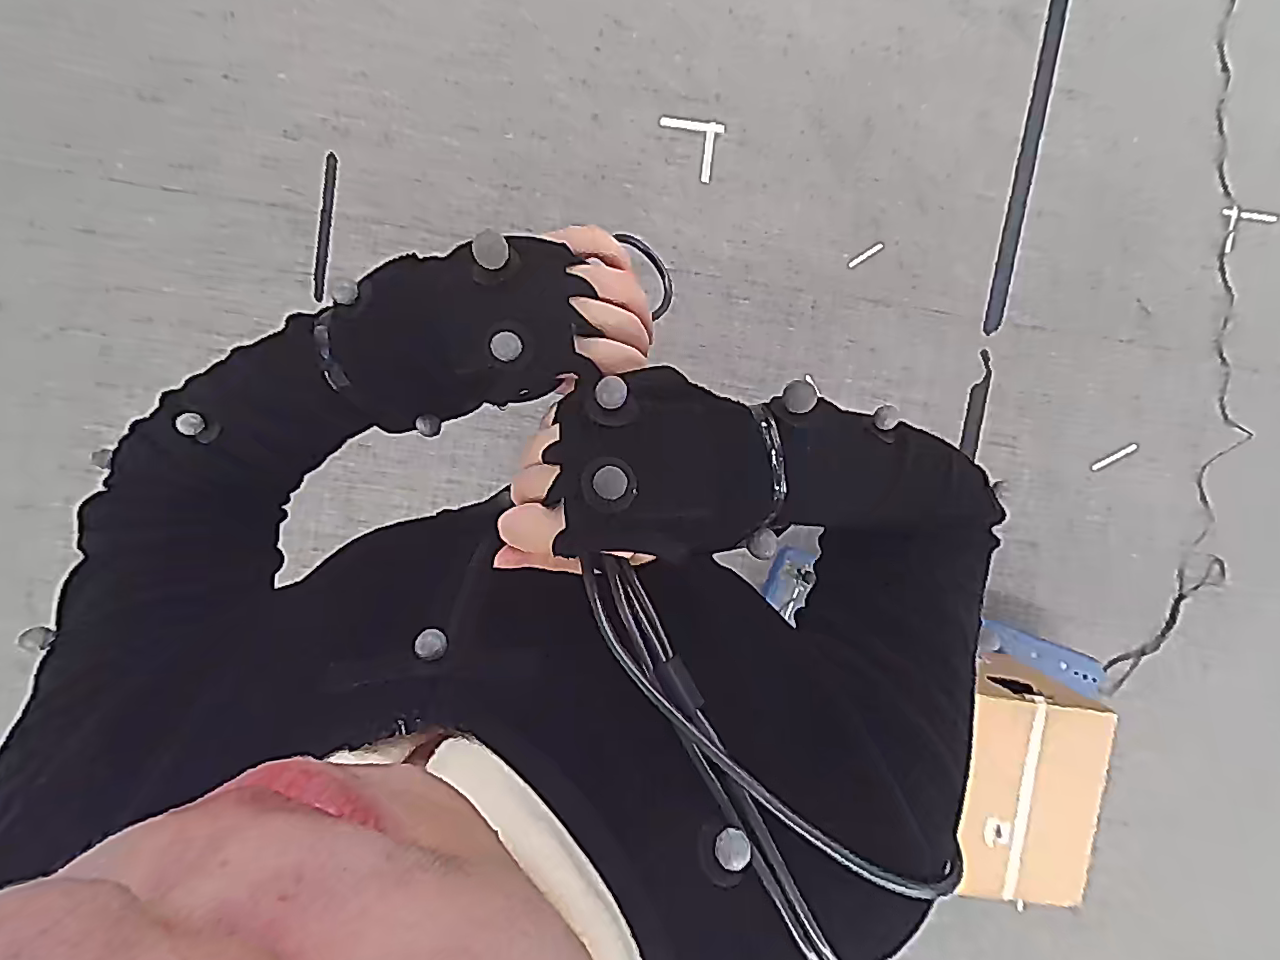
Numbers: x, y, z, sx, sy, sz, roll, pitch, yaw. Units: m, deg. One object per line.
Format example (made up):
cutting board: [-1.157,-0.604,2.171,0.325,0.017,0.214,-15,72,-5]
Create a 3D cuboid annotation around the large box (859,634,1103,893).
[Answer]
large box: [0.731,0.603,1.215,0.320,0.320,0.408,9,94,-1]
